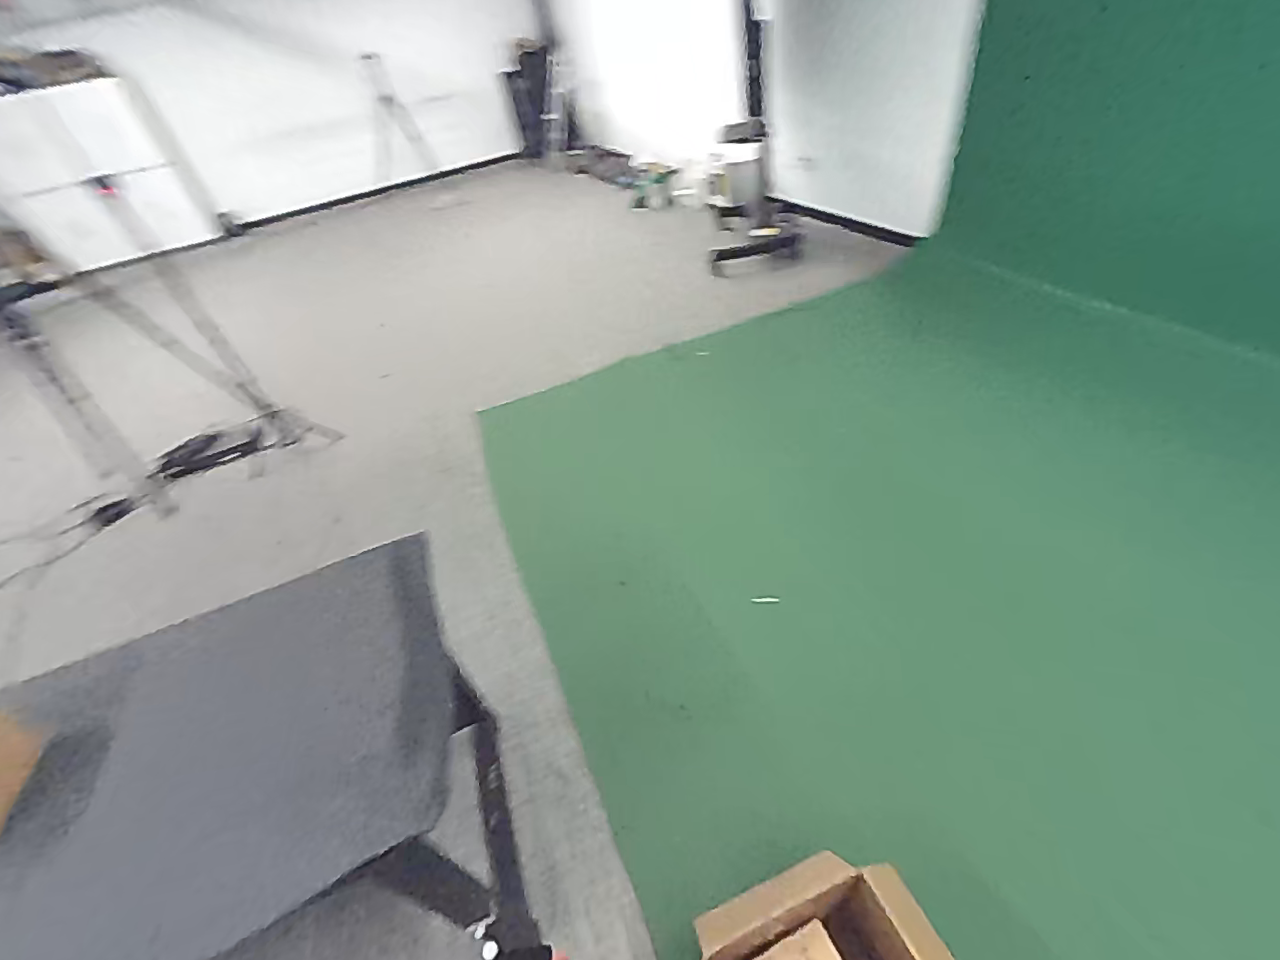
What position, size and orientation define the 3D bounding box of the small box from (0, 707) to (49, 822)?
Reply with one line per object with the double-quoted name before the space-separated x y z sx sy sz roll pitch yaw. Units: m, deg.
"small box" -1.041 0.432 0.781 0.168 0.176 0.179 -18 40 -8
